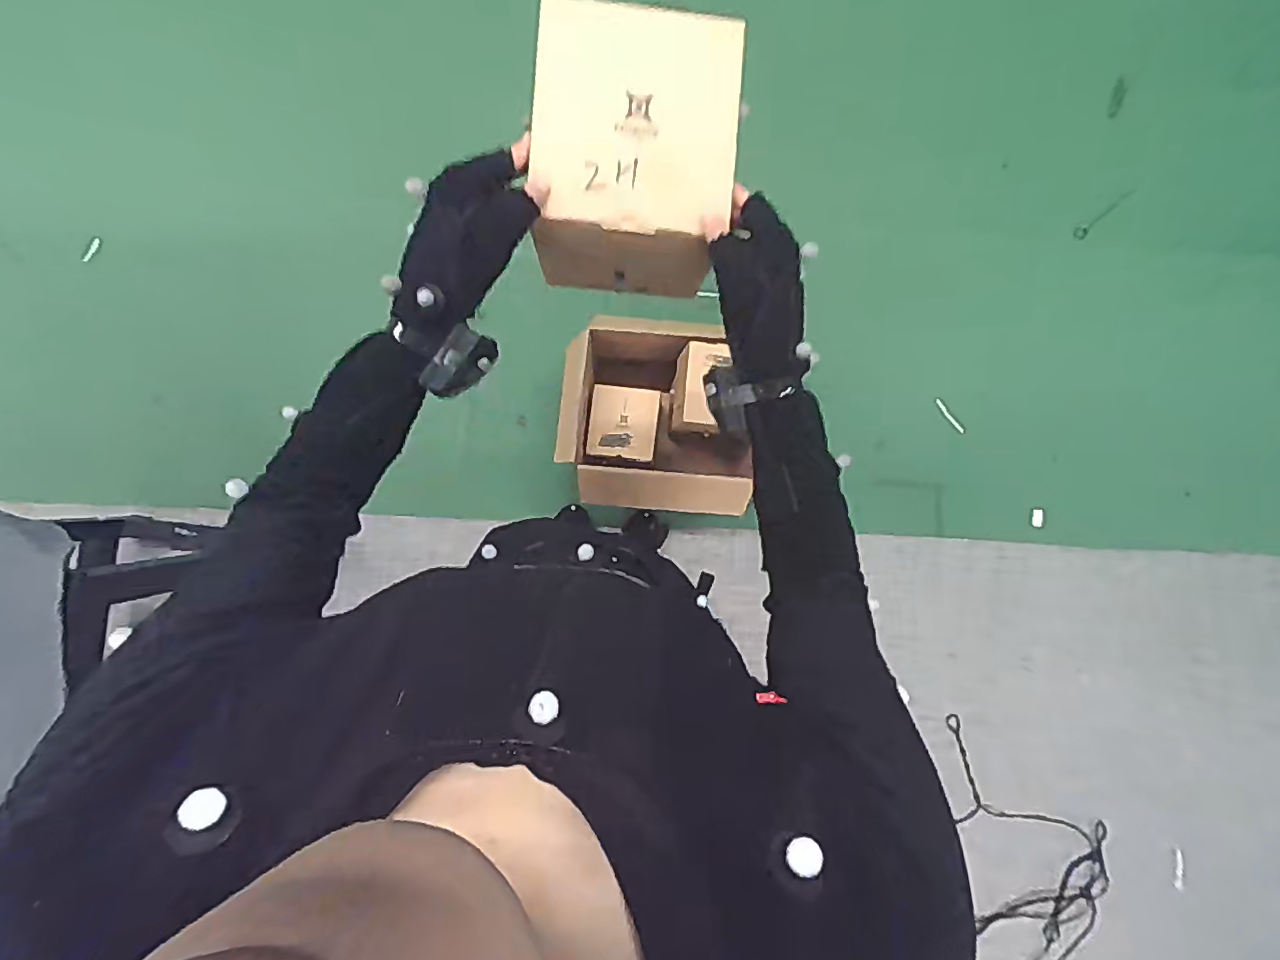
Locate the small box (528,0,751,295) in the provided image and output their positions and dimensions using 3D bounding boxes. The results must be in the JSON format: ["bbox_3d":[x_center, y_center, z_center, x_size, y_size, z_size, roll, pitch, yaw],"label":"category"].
[{"bbox_3d":[-0.004,-0.295,0.503,0.168,0.176,0.179,5,89,-4],"label":"small box"}]
